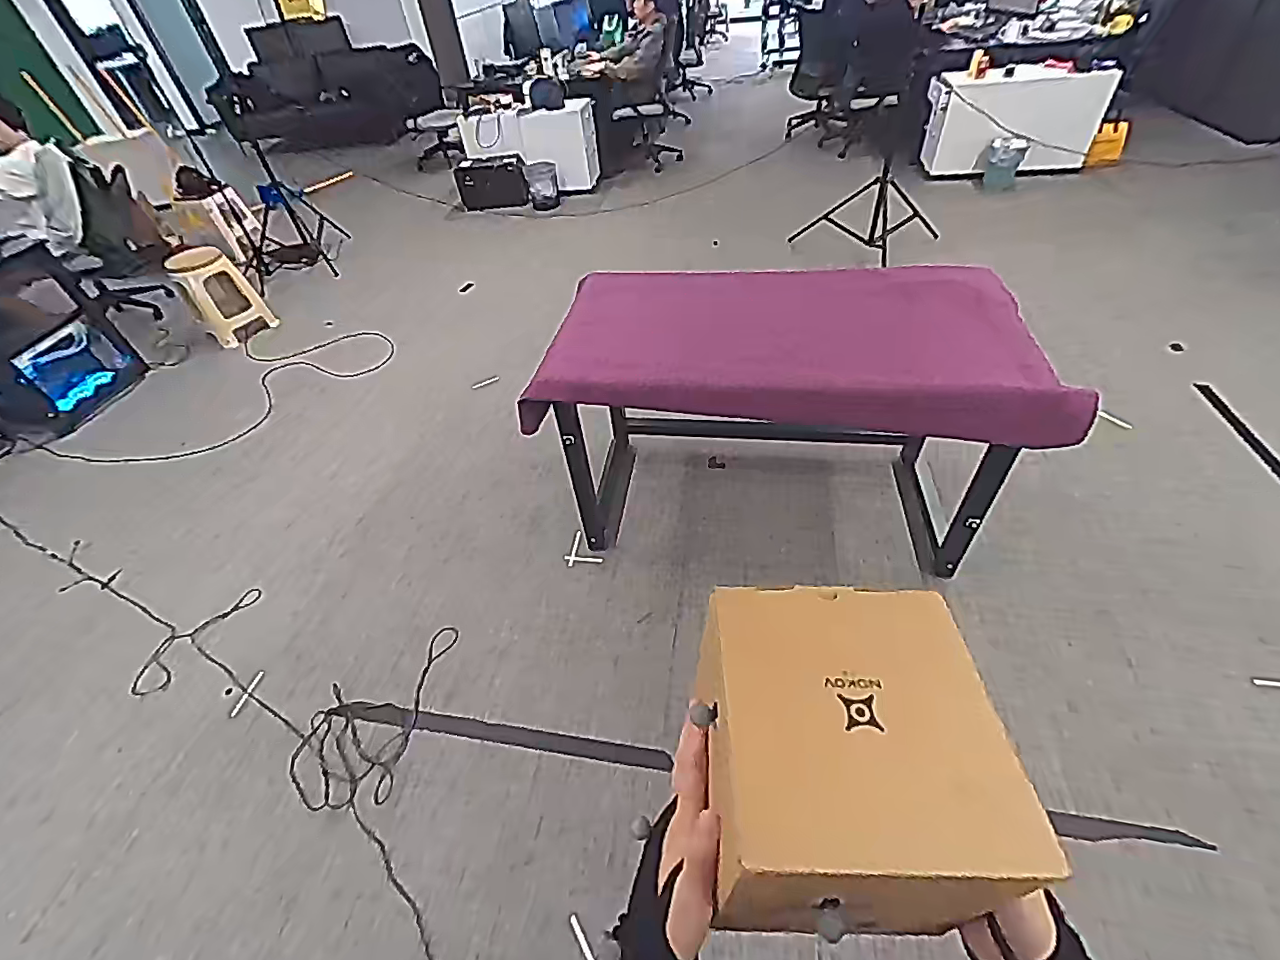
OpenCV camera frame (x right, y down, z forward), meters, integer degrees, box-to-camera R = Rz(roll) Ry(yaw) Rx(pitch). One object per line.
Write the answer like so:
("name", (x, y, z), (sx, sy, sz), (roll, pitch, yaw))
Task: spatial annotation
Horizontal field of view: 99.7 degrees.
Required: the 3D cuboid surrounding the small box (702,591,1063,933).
("small box", (0.137, 0.201, 0.389), (0.168, 0.176, 0.179), (1, 41, 0))
